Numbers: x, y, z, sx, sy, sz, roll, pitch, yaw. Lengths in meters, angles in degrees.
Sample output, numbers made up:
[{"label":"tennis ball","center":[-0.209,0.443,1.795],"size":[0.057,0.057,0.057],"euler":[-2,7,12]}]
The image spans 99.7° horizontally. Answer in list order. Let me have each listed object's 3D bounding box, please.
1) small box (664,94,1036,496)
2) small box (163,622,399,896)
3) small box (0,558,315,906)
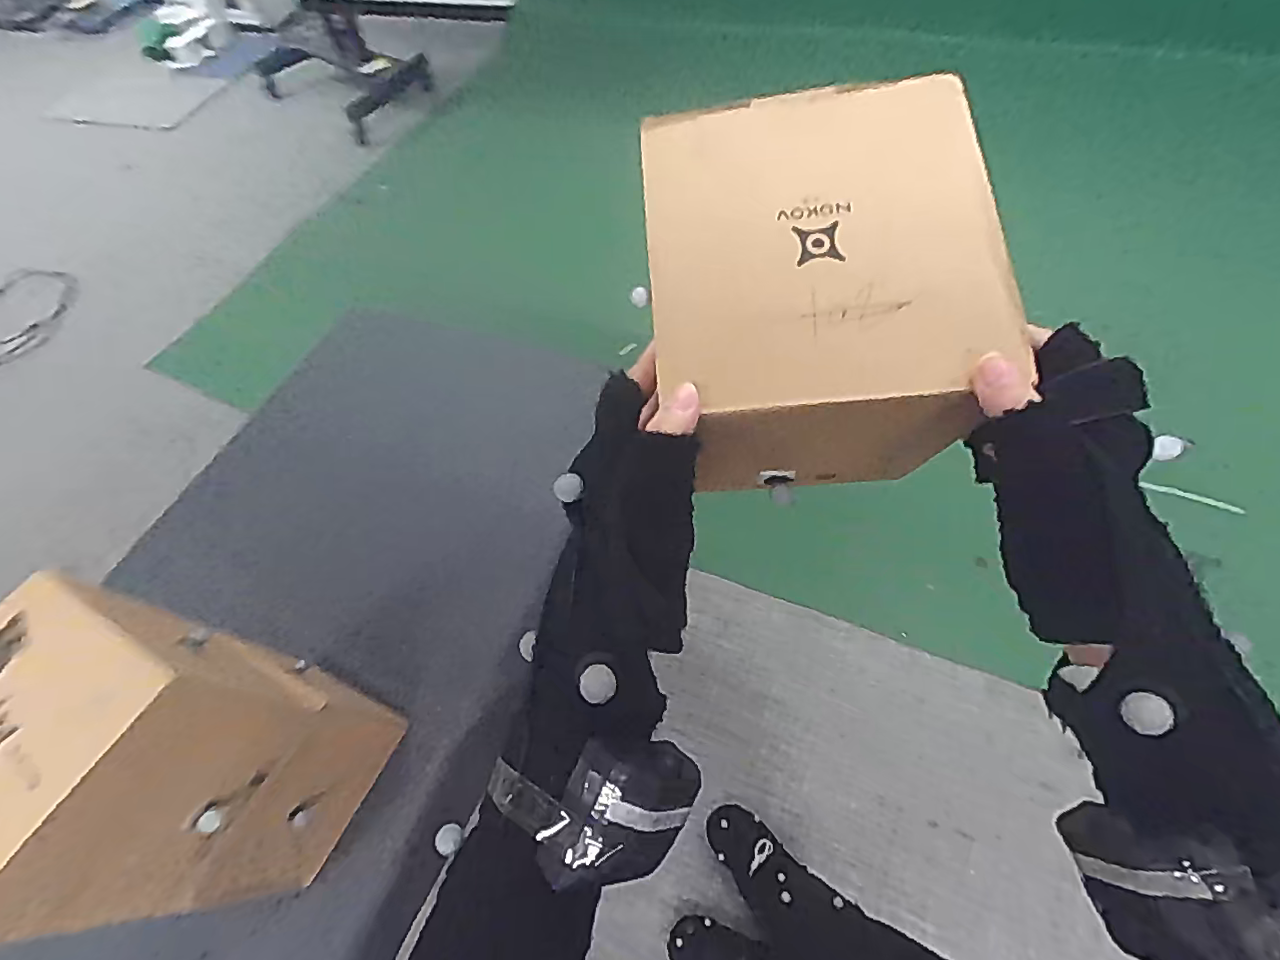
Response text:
[{"label":"small box","center":[0.102,-0.095,0.346],"size":[0.168,0.176,0.179],"euler":[-3,75,7]},{"label":"small box","center":[-0.392,0.279,0.560],"size":[0.168,0.176,0.179],"euler":[20,64,17]},{"label":"small box","center":[-0.411,0.194,0.420],"size":[0.179,0.176,0.168],"euler":[23,64,19]}]
